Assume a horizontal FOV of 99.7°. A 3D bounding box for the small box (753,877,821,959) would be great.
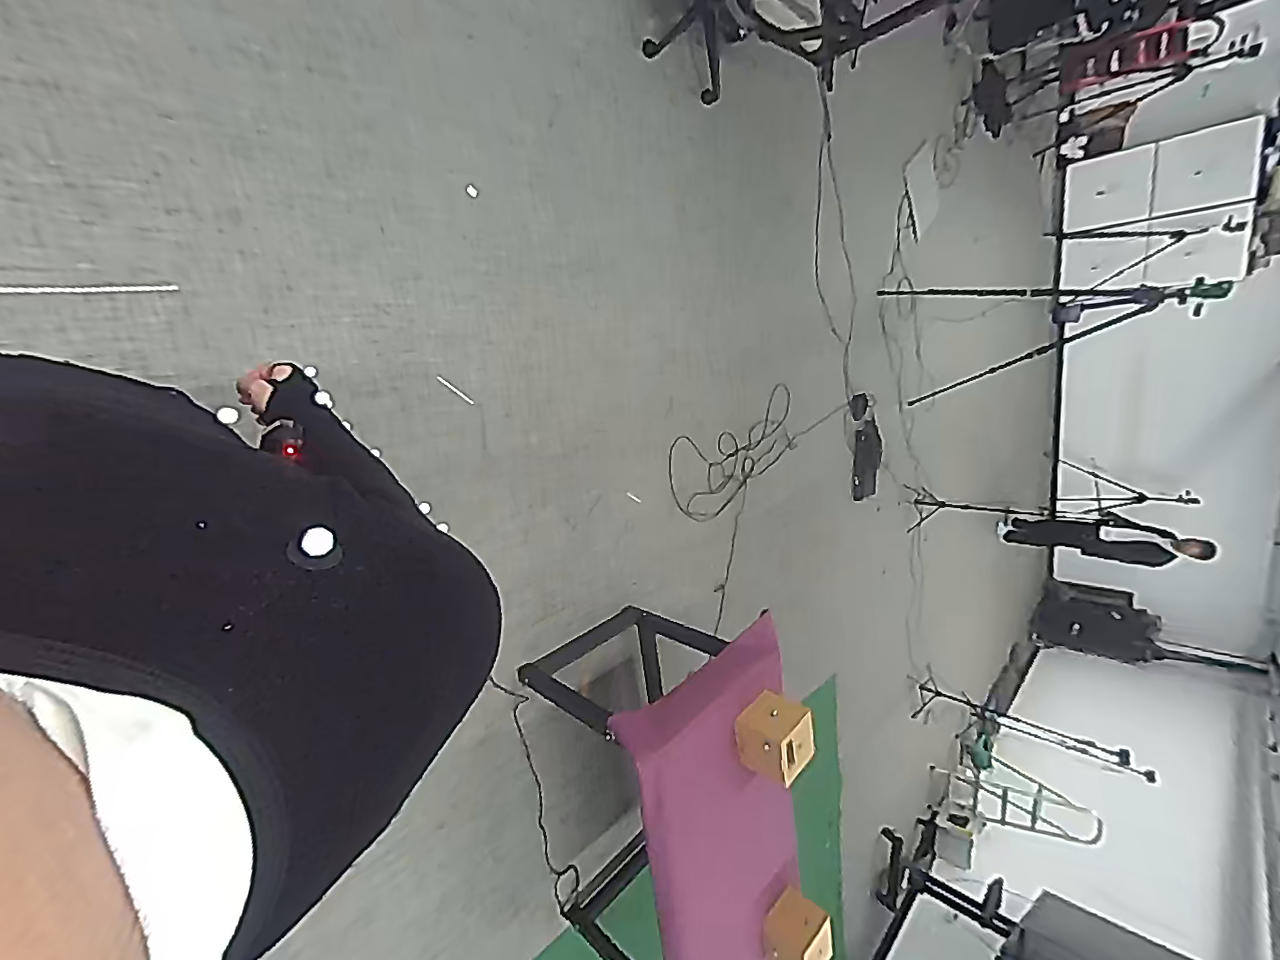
[{"bbox_3d":[0.523,1.578,1.925,0.179,0.176,0.168,-17,105,-41],"label":"small box"}]
